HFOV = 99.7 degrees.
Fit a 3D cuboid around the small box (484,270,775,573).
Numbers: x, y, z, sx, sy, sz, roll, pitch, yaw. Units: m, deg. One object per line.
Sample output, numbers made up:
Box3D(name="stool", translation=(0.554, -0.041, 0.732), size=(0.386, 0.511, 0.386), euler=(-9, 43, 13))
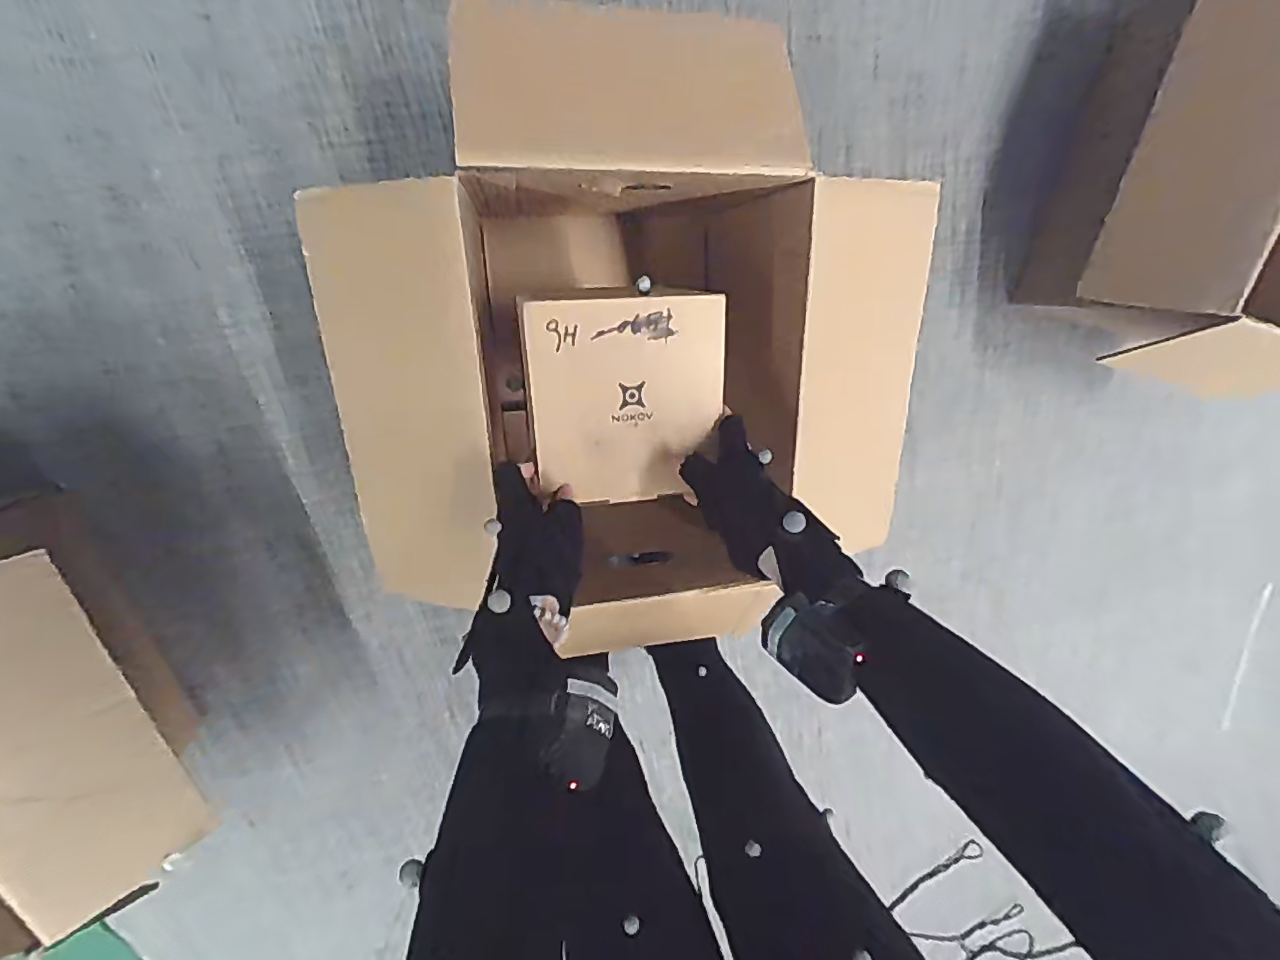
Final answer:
Box3D(name="small box", translation=(-0.014, -0.058, 0.485), size=(0.176, 0.168, 0.179), euler=(36, 130, 9))
